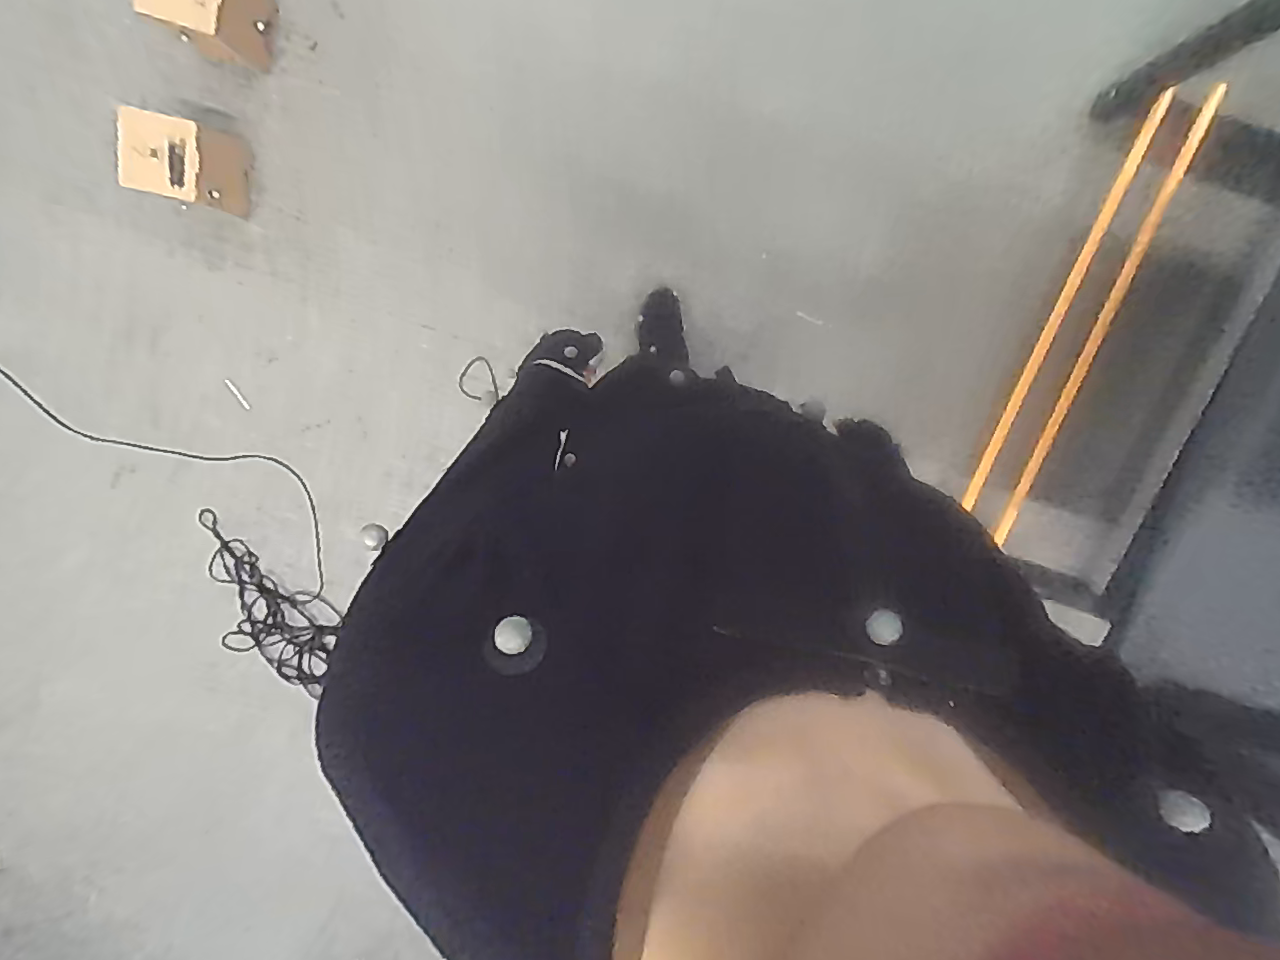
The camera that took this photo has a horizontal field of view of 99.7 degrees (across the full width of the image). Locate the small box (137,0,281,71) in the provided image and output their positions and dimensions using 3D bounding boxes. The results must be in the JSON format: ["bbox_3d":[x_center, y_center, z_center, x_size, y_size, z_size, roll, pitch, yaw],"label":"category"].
[{"bbox_3d":[-0.943,-1.051,1.194,0.179,0.176,0.168,16,103,-3],"label":"small box"}]
